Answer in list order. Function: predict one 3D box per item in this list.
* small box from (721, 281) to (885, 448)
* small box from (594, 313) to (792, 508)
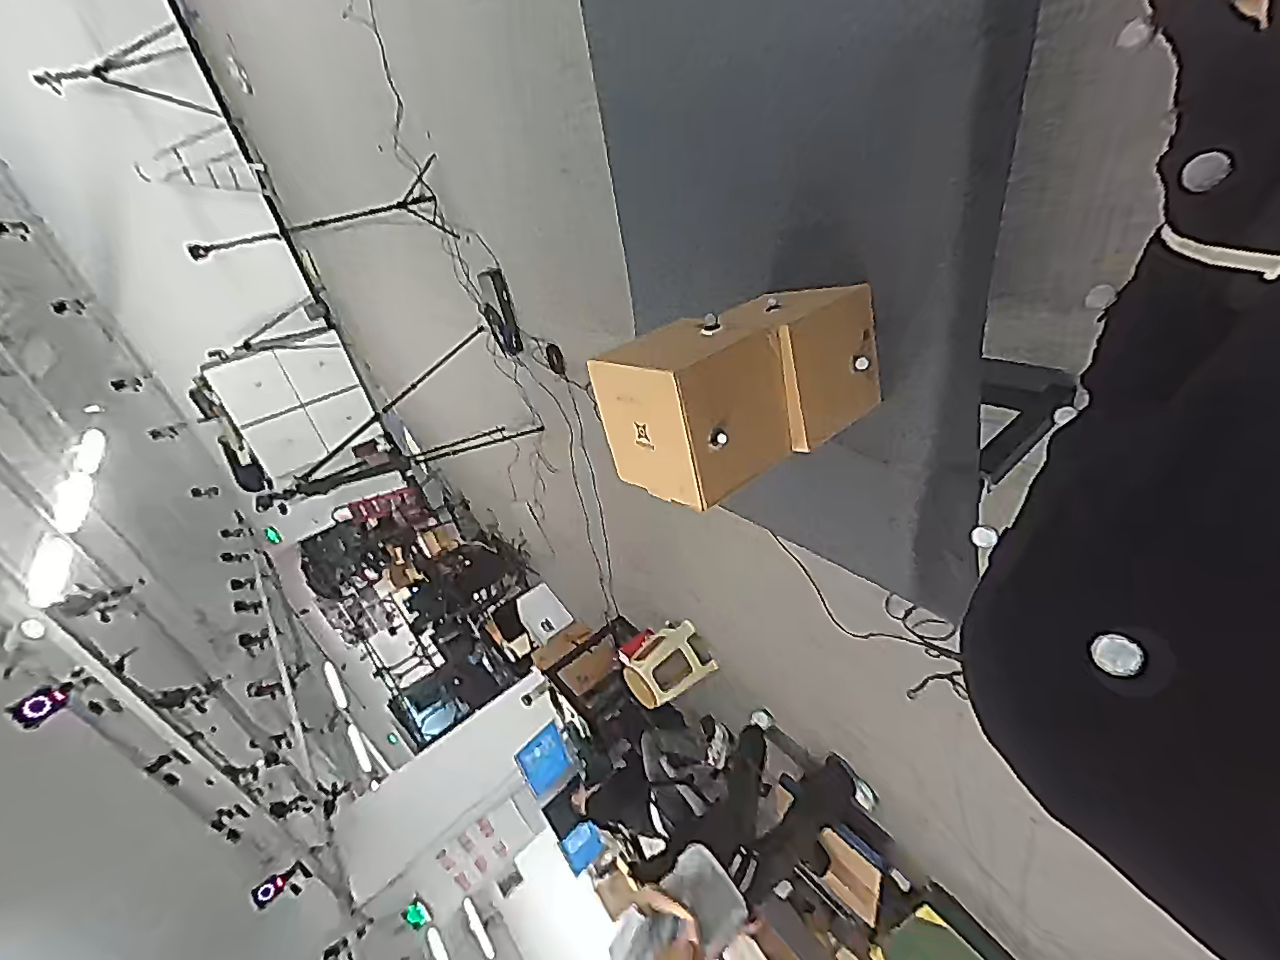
[{"bbox_3d":[0.206,-0.162,0.743,0.179,0.176,0.168,16,131,52],"label":"small box"},{"bbox_3d":[0.073,-0.096,0.677,0.168,0.176,0.179,20,133,48],"label":"small box"}]
